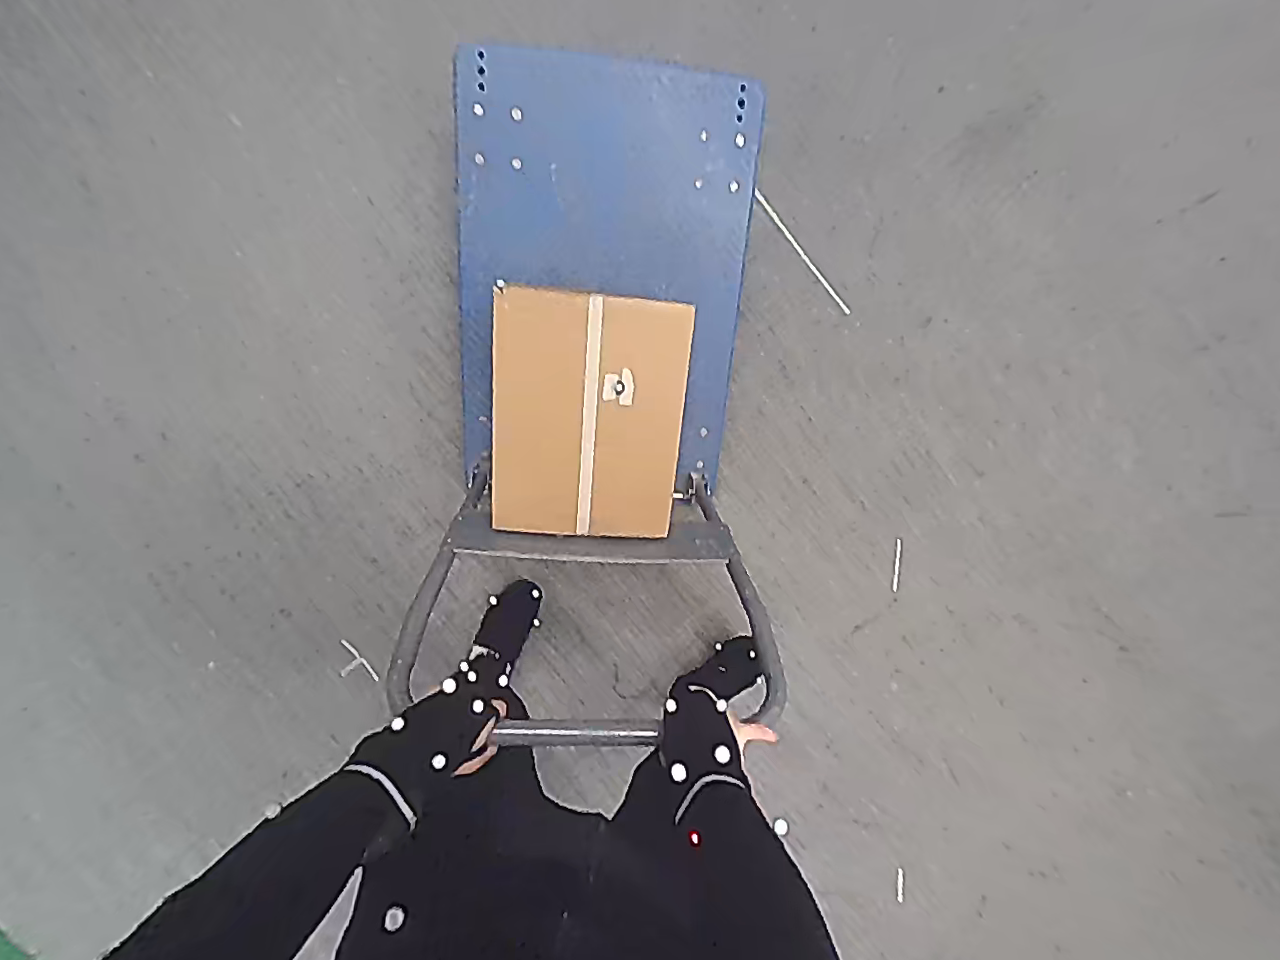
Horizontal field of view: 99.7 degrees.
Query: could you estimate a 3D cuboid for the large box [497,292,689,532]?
[{"bbox_3d":[-0.095,-0.143,1.061,0.320,0.320,0.408,3,108,-6],"label":"large box"}]
